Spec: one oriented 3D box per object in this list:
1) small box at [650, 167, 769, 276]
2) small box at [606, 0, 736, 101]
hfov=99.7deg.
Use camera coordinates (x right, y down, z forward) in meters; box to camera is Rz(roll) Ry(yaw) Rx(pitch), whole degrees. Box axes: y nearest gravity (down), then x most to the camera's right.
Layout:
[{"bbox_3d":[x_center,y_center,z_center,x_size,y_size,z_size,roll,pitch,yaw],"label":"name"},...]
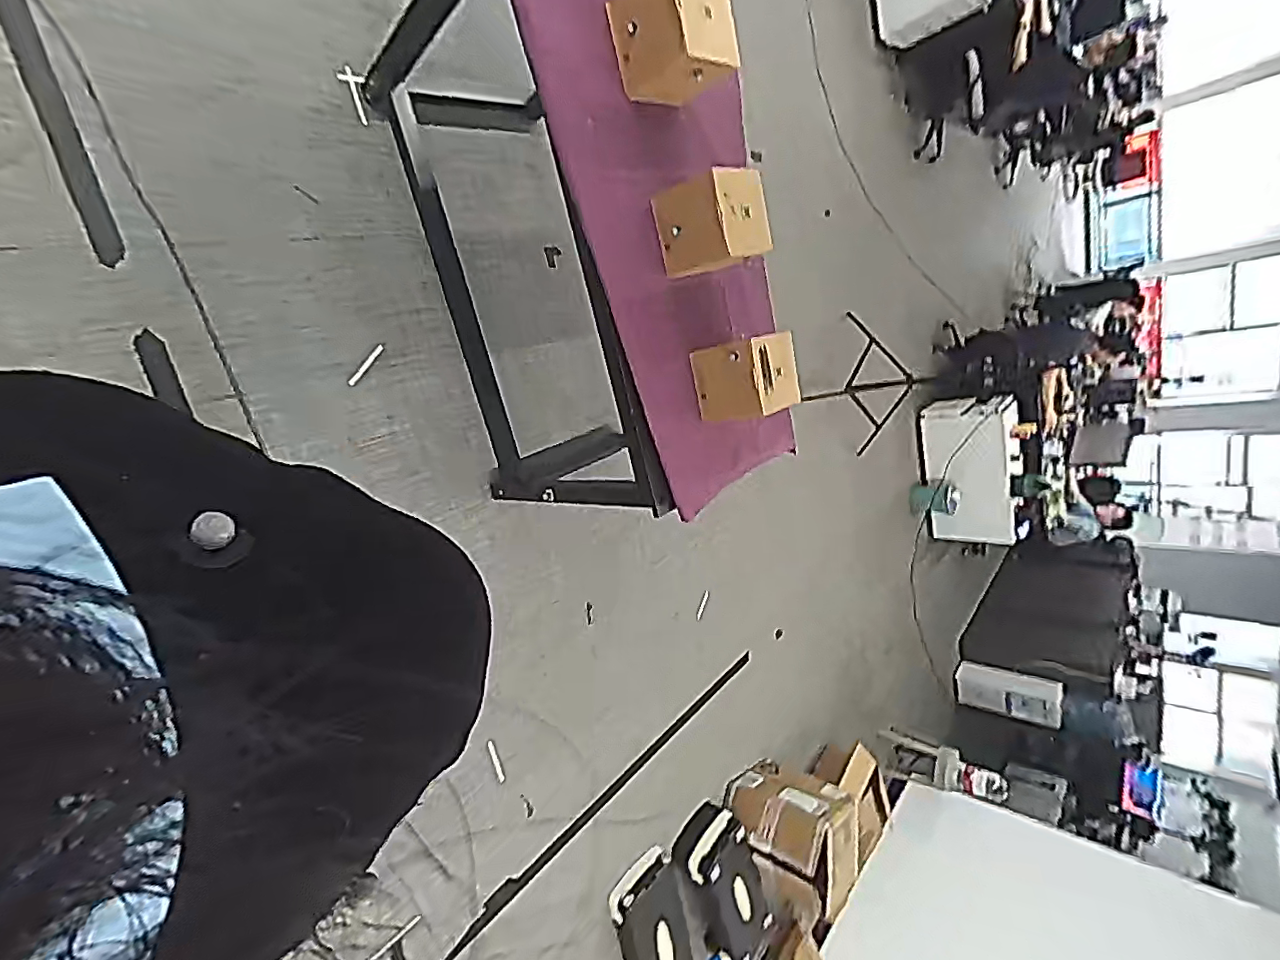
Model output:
[{"bbox_3d":[0.149,-0.550,1.162,0.179,0.176,0.168,-28,109,-41],"label":"small box"},{"bbox_3d":[0.062,-0.880,1.069,0.179,0.176,0.168,-28,111,-40],"label":"small box"}]
